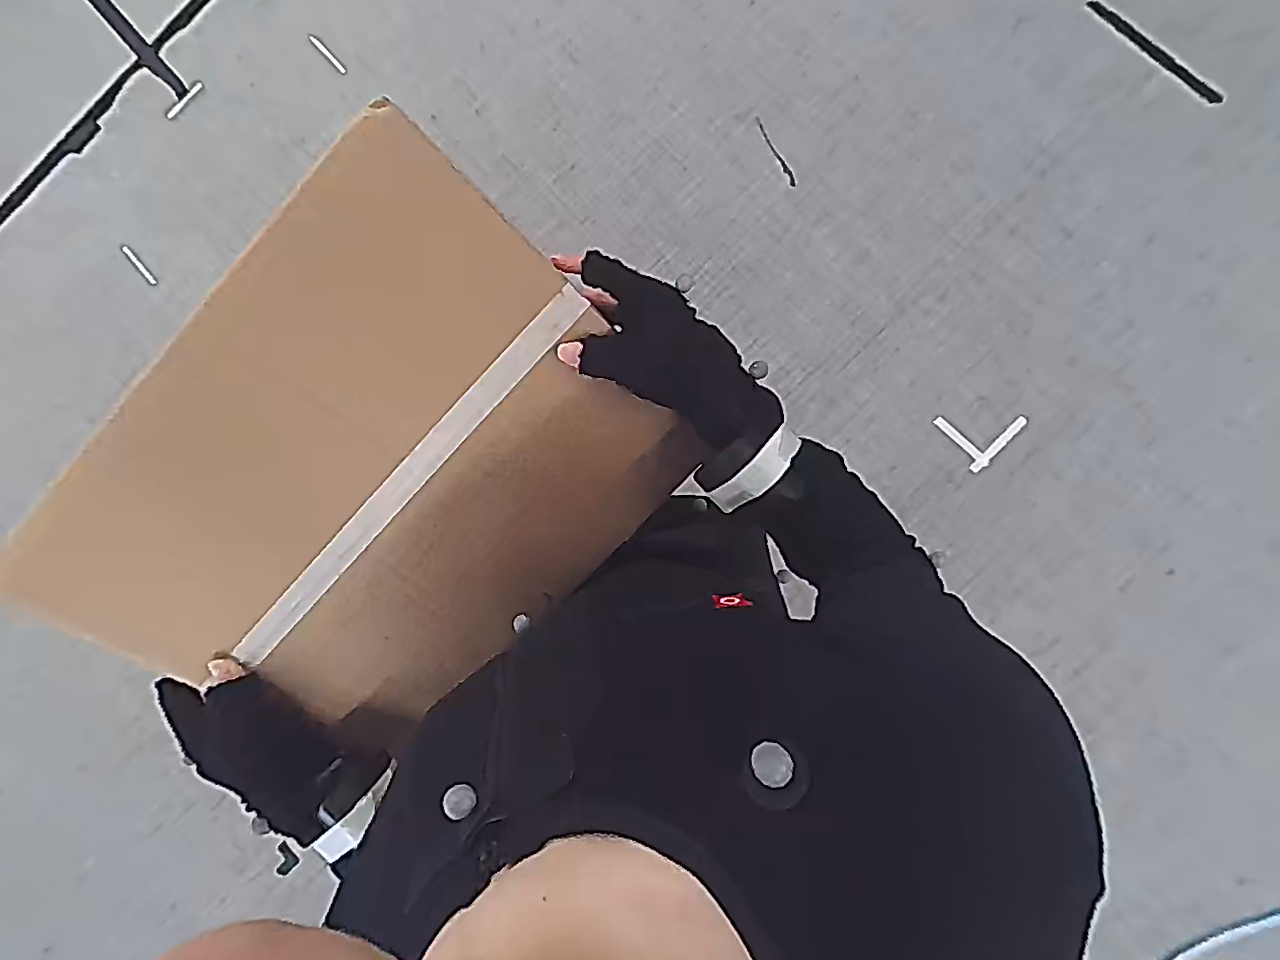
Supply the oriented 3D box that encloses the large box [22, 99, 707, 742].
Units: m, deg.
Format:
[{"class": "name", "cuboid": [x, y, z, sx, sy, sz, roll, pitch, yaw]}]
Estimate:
[{"class": "large box", "cuboid": [-0.214, -0.047, 0.537, 0.408, 0.320, 0.320, -45, 115, 7]}]
